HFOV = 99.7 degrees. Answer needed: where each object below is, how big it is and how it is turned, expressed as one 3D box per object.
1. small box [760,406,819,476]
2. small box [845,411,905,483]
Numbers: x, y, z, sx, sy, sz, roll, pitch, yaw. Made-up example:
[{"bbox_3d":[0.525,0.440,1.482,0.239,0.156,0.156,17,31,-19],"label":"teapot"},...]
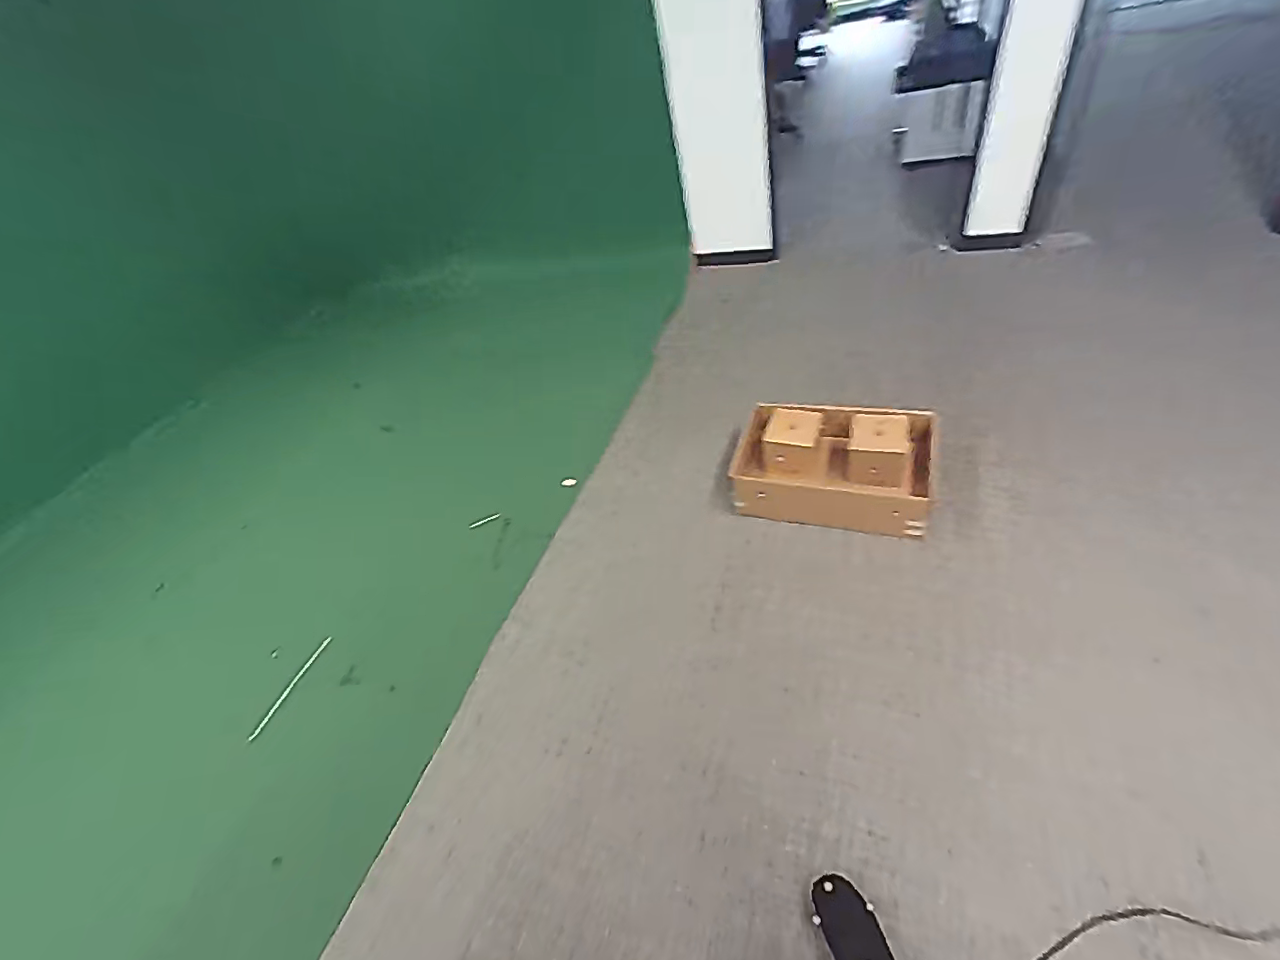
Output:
[{"bbox_3d":[0.536,-0.136,1.921,0.168,0.176,0.179,10,51,25],"label":"small box"},{"bbox_3d":[0.785,-0.108,1.812,0.168,0.176,0.179,6,50,23],"label":"small box"}]
